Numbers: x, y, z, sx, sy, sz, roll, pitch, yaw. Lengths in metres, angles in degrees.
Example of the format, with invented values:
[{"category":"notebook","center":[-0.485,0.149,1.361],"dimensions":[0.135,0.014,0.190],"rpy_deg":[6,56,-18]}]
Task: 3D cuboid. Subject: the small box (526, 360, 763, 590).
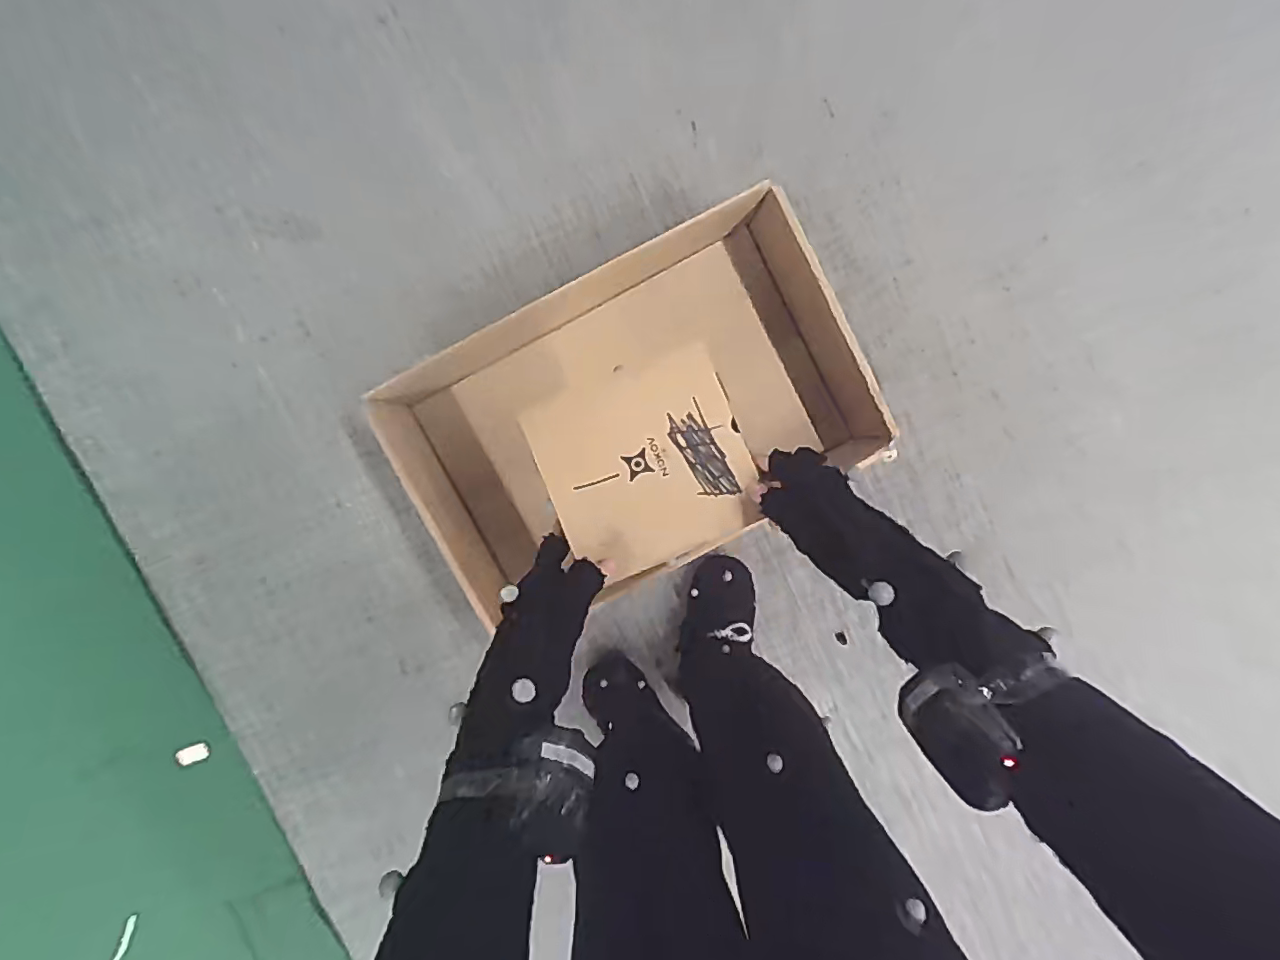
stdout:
[{"category":"small box","center":[-0.002,-0.001,0.564],"dimensions":[0.179,0.176,0.168],"rpy_deg":[-21,86,-6]}]
